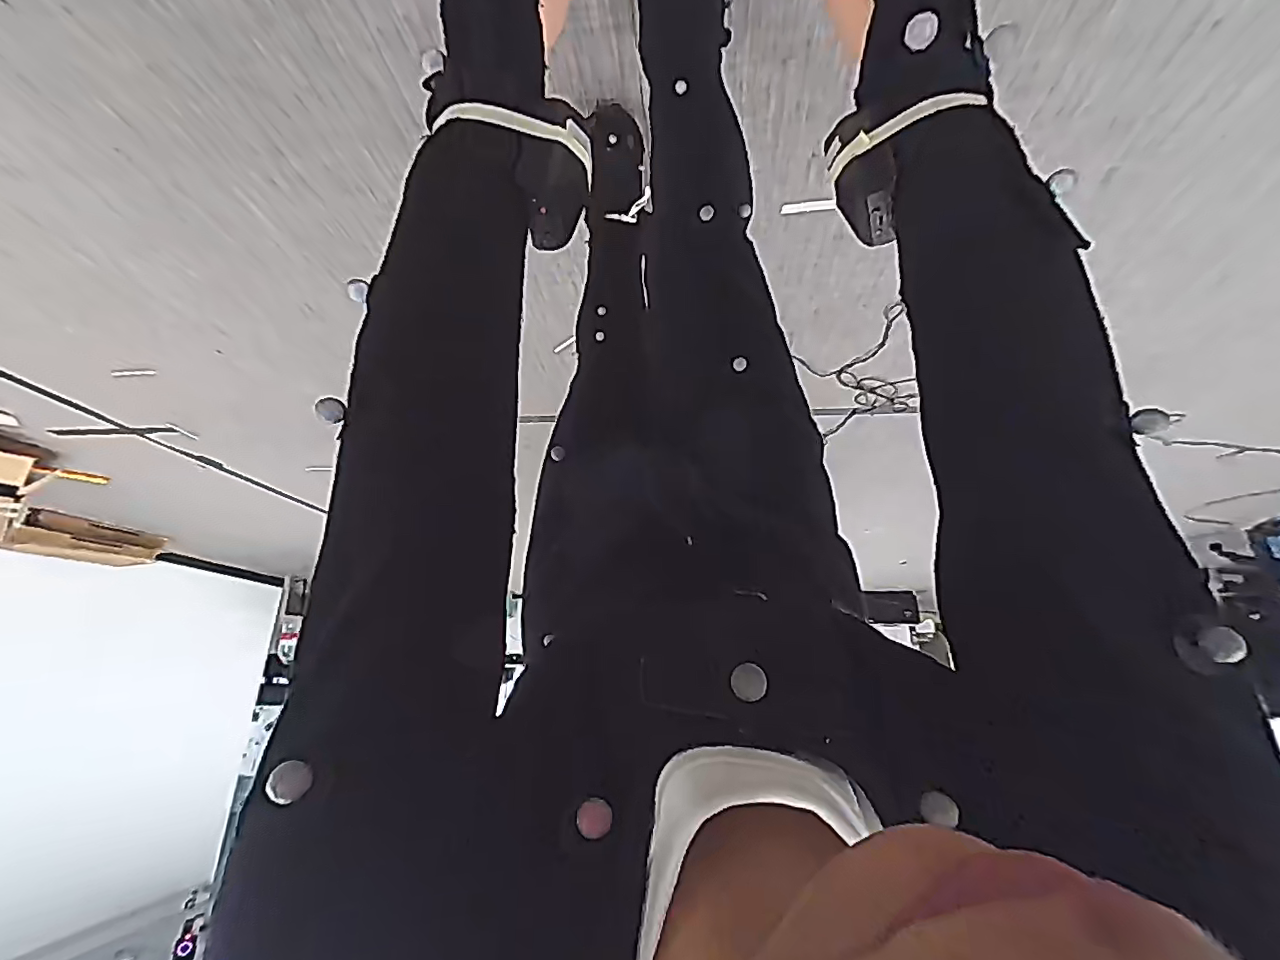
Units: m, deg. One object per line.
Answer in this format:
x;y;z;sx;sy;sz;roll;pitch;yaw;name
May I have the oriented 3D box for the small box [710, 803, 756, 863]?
0.384;1.457;2.241;0.179;0.176;0.168;-2;160;10;small box
